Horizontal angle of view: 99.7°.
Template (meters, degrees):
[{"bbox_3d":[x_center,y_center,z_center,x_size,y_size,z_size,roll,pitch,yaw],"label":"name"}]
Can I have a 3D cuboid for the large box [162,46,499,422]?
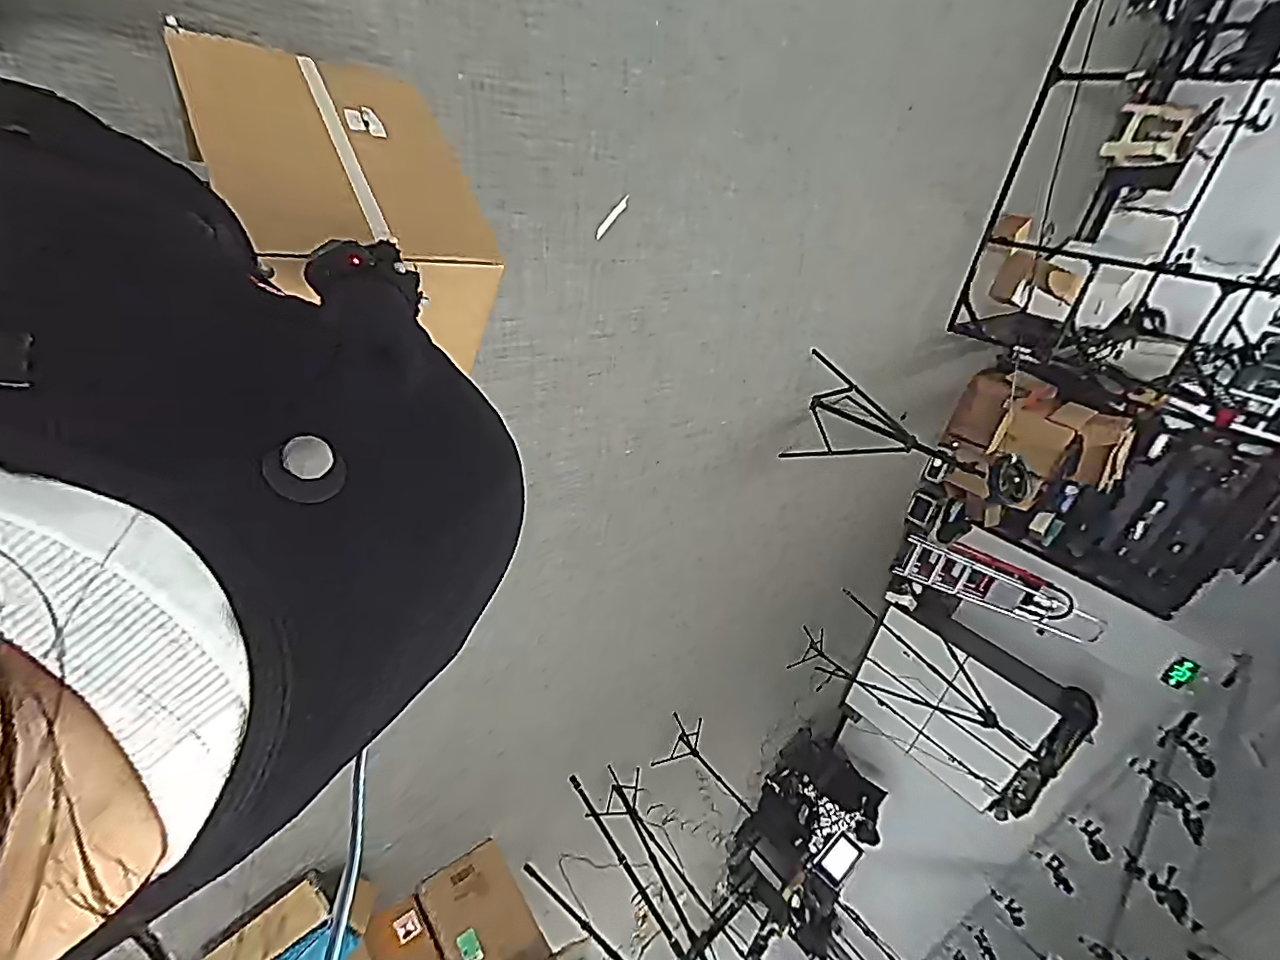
[{"bbox_3d":[-0.472,-0.355,0.842,0.320,0.408,0.320,-15,157,-38],"label":"large box"}]
